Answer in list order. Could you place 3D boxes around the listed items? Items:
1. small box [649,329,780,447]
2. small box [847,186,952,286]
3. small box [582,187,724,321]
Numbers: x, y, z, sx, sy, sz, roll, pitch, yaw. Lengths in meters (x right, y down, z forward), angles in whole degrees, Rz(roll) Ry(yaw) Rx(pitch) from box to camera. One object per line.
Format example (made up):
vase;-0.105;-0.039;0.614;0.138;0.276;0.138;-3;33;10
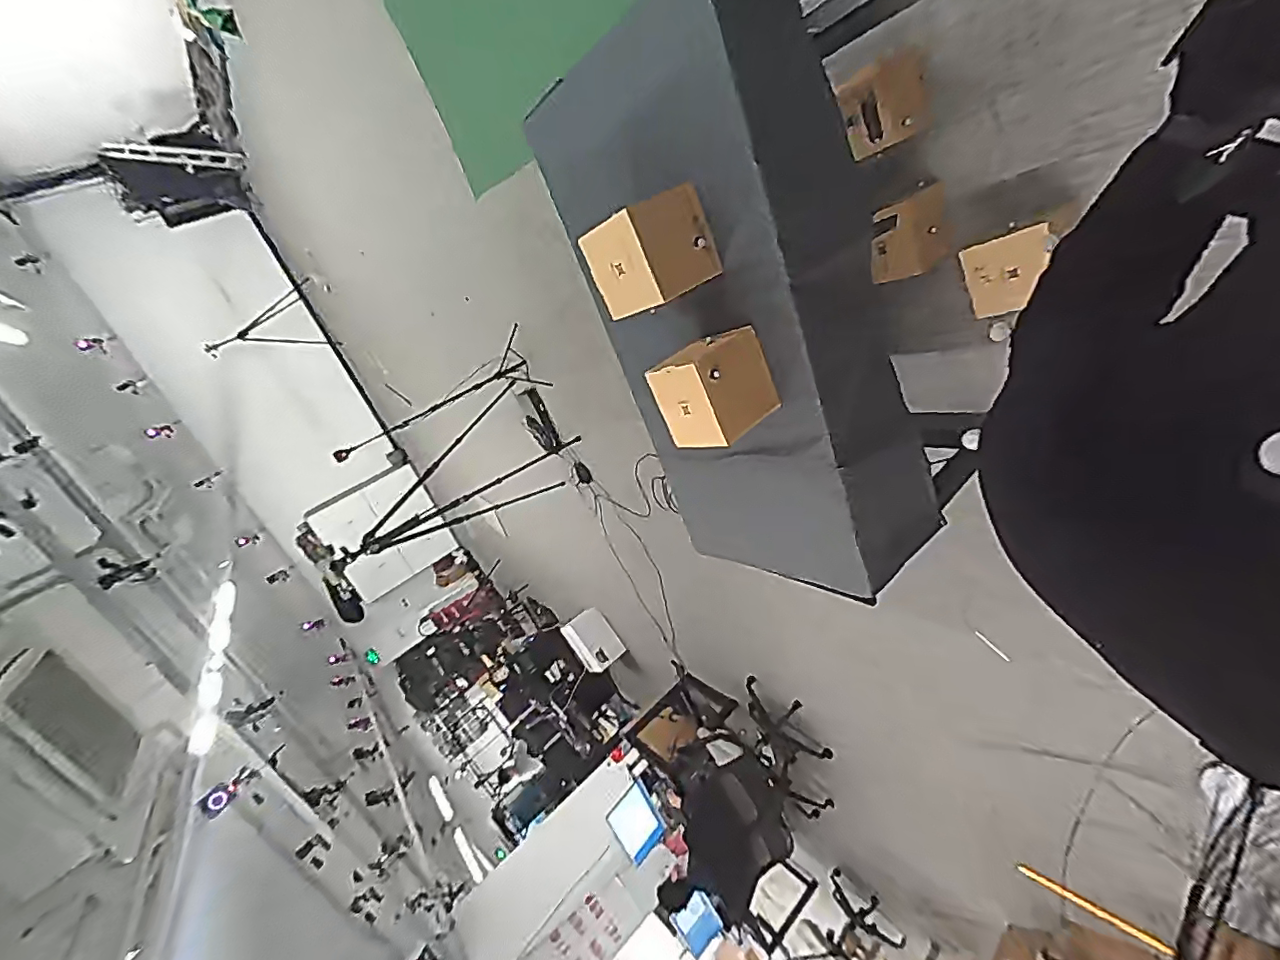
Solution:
small box;0.155;-0.182;1.100;0.168;0.176;0.179;5;125;57
small box;0.664;-0.624;1.377;0.168;0.176;0.179;9;130;55
small box;0.026;-0.423;1.026;0.179;0.176;0.168;7;129;56
